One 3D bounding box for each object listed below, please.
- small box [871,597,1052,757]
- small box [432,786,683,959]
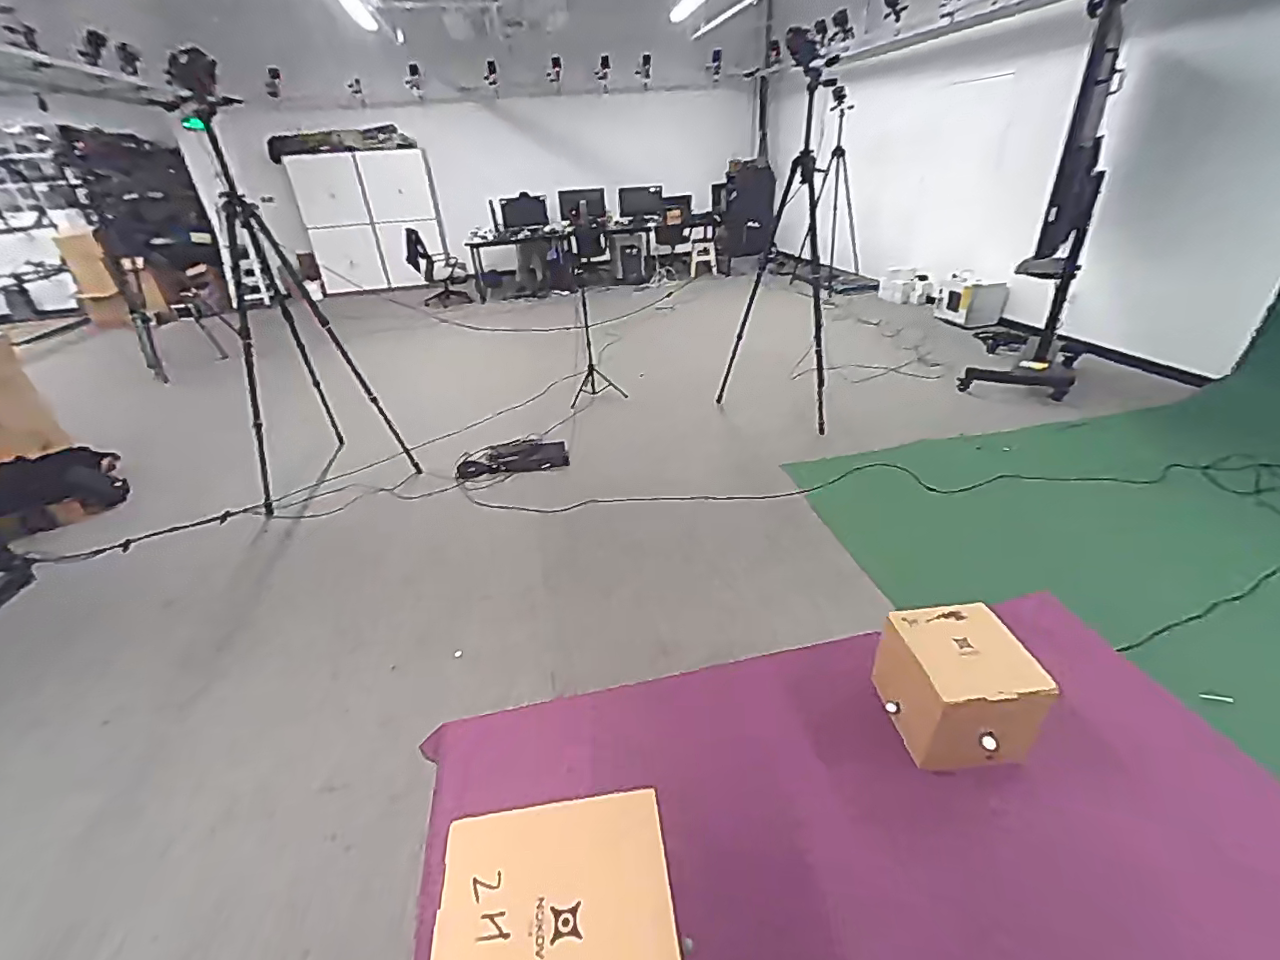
[{"bbox_3d":[0.490,0.314,0.856,0.168,0.176,0.179,-5,32,-2],"label":"small box"},{"bbox_3d":[-0.058,0.384,0.441,0.179,0.176,0.168,-7,34,-4],"label":"small box"}]
